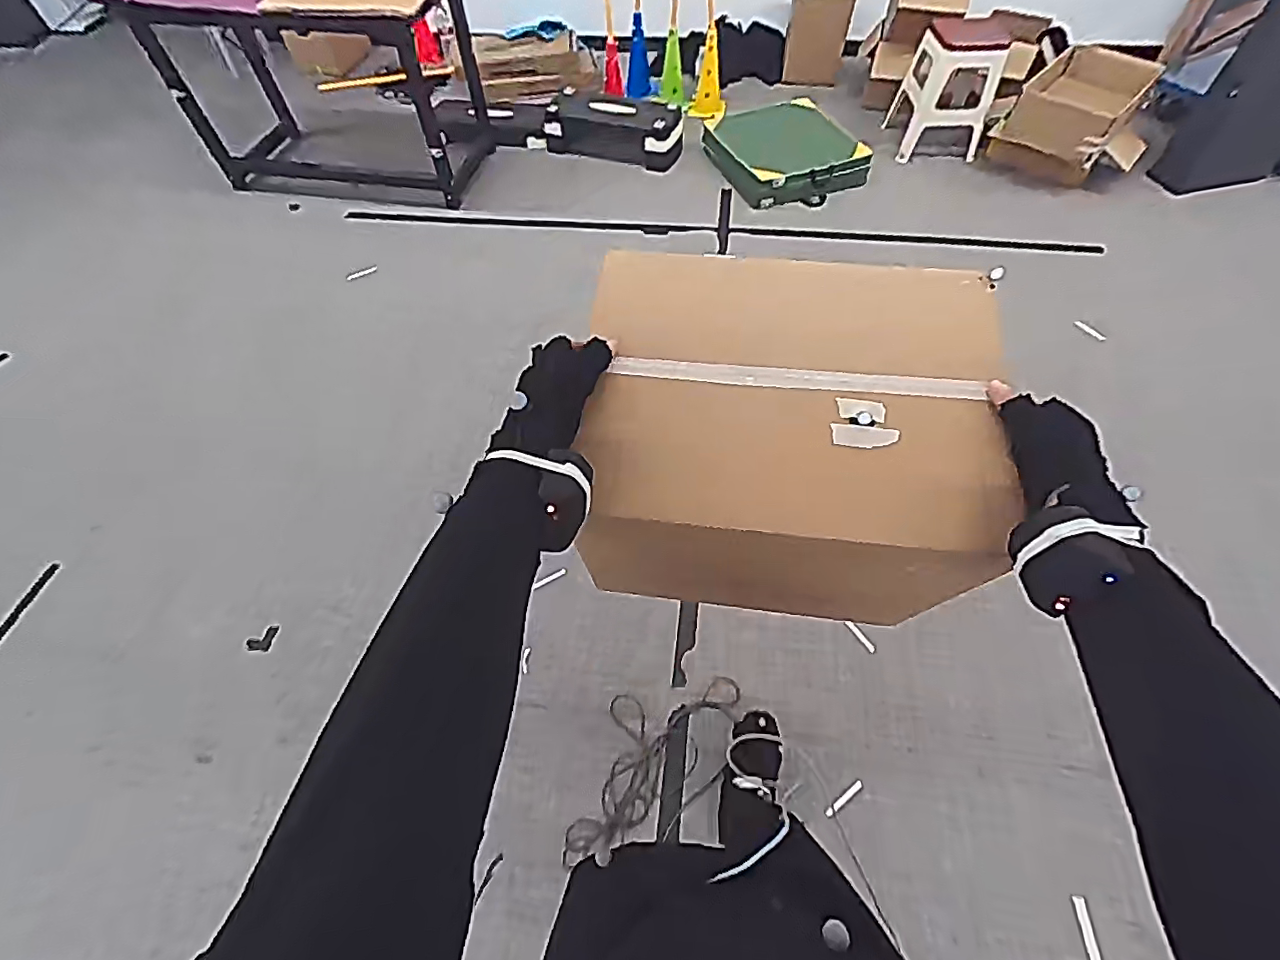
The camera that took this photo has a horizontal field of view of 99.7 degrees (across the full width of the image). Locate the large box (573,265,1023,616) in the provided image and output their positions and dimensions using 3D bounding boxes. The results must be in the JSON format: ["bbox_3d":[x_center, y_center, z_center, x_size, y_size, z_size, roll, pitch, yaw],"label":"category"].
[{"bbox_3d":[0.157,-0.031,0.675,0.408,0.320,0.320,6,67,6],"label":"large box"}]
